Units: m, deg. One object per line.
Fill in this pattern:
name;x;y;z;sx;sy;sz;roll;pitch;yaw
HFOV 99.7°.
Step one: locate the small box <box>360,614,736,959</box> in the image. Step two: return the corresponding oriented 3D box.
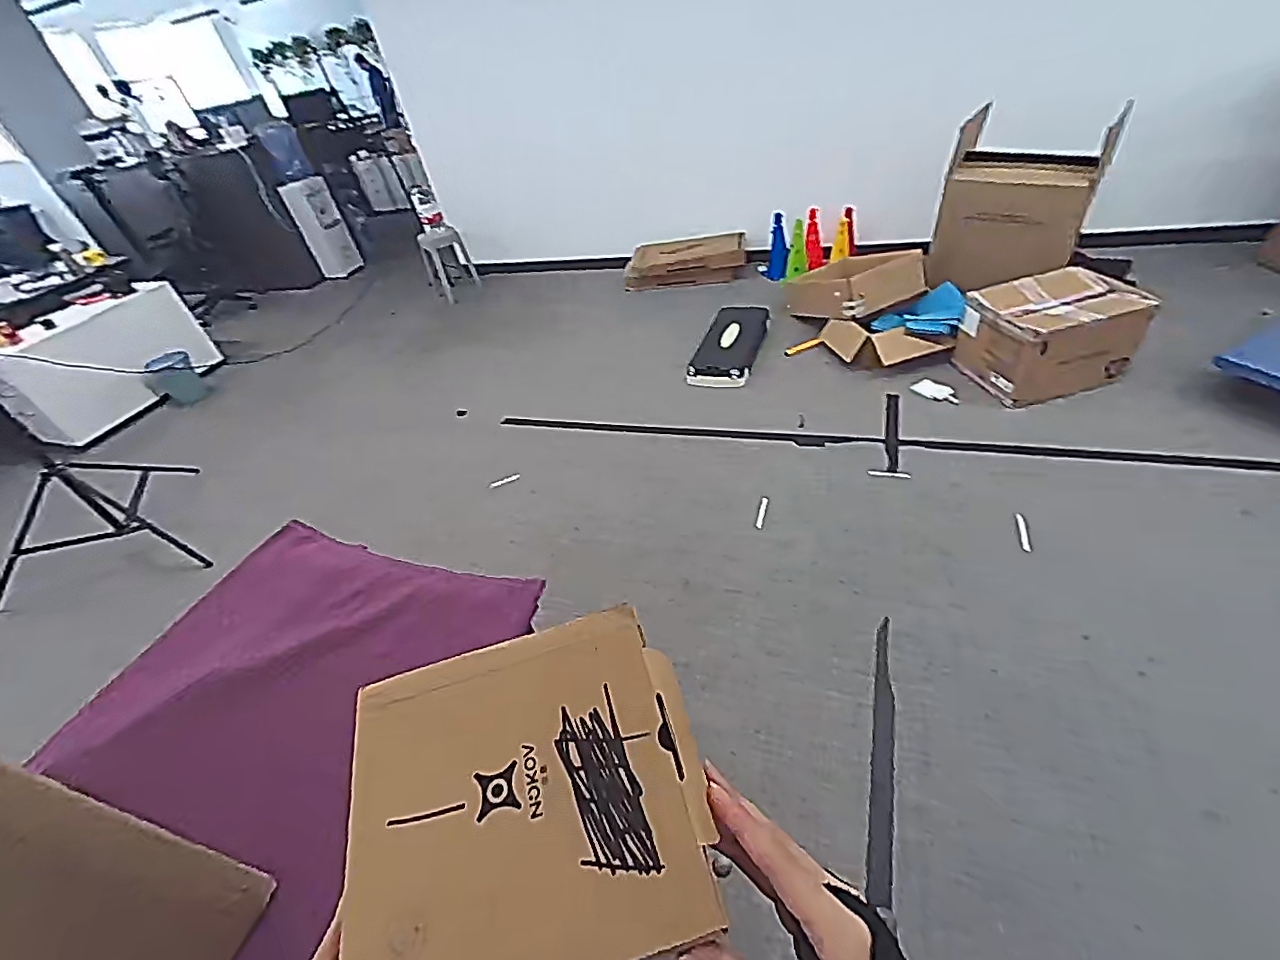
small box;-0.050;0.216;0.349;0.179;0.176;0.168;-17;50;-4
